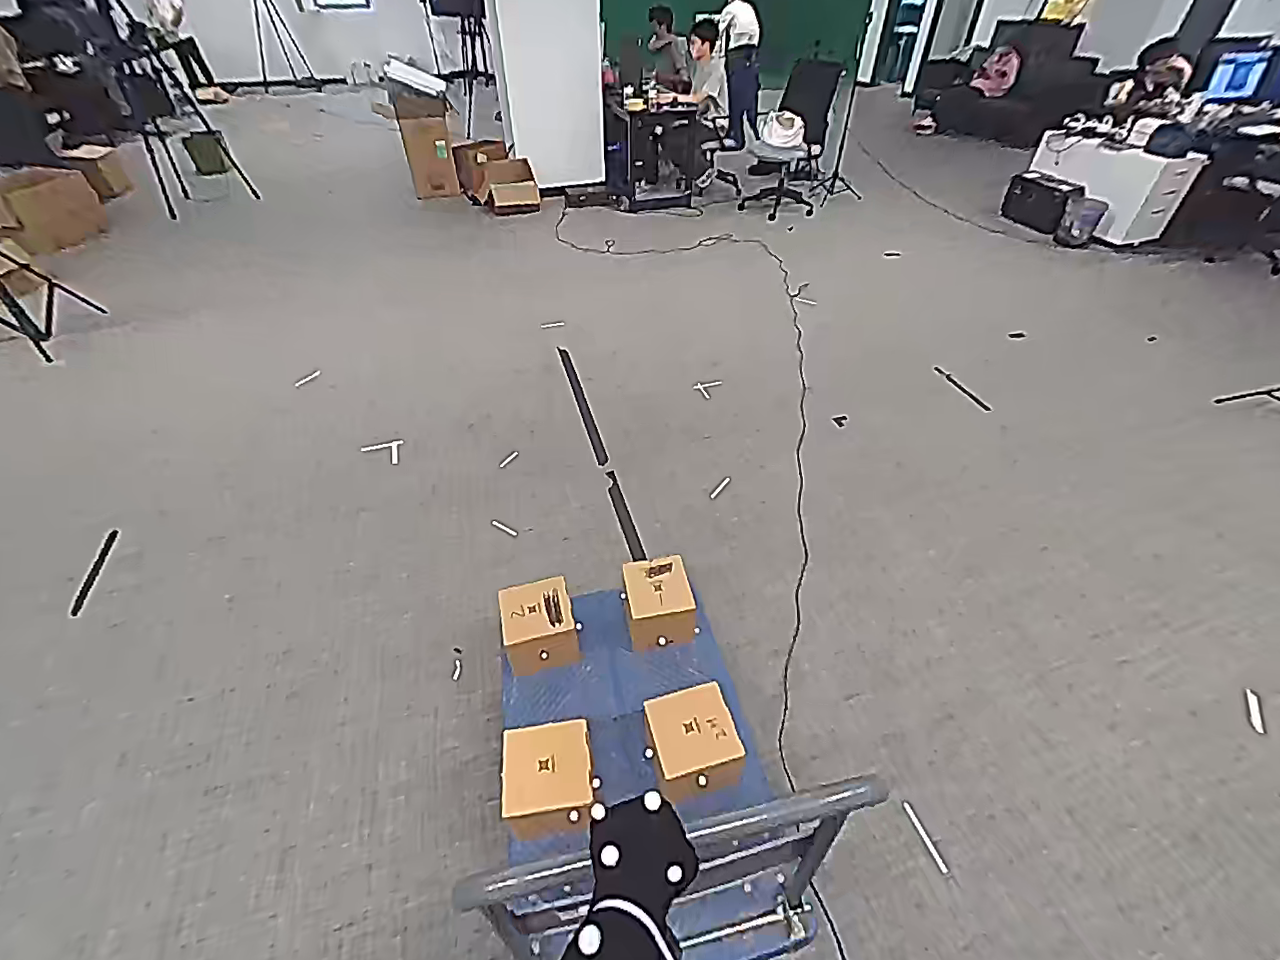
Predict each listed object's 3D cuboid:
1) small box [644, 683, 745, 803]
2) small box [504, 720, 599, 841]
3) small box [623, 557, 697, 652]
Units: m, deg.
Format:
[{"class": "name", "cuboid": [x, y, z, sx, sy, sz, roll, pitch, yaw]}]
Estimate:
[{"class": "small box", "cuboid": [0.115, 0.584, 1.196, 0.179, 0.176, 0.168, -12, 45, -11]}, {"class": "small box", "cuboid": [-0.185, 0.638, 1.144, 0.179, 0.176, 0.168, -6, 43, -8]}, {"class": "small box", "cuboid": [0.047, 0.335, 1.461, 0.168, 0.176, 0.179, -8, 45, -8]}]
